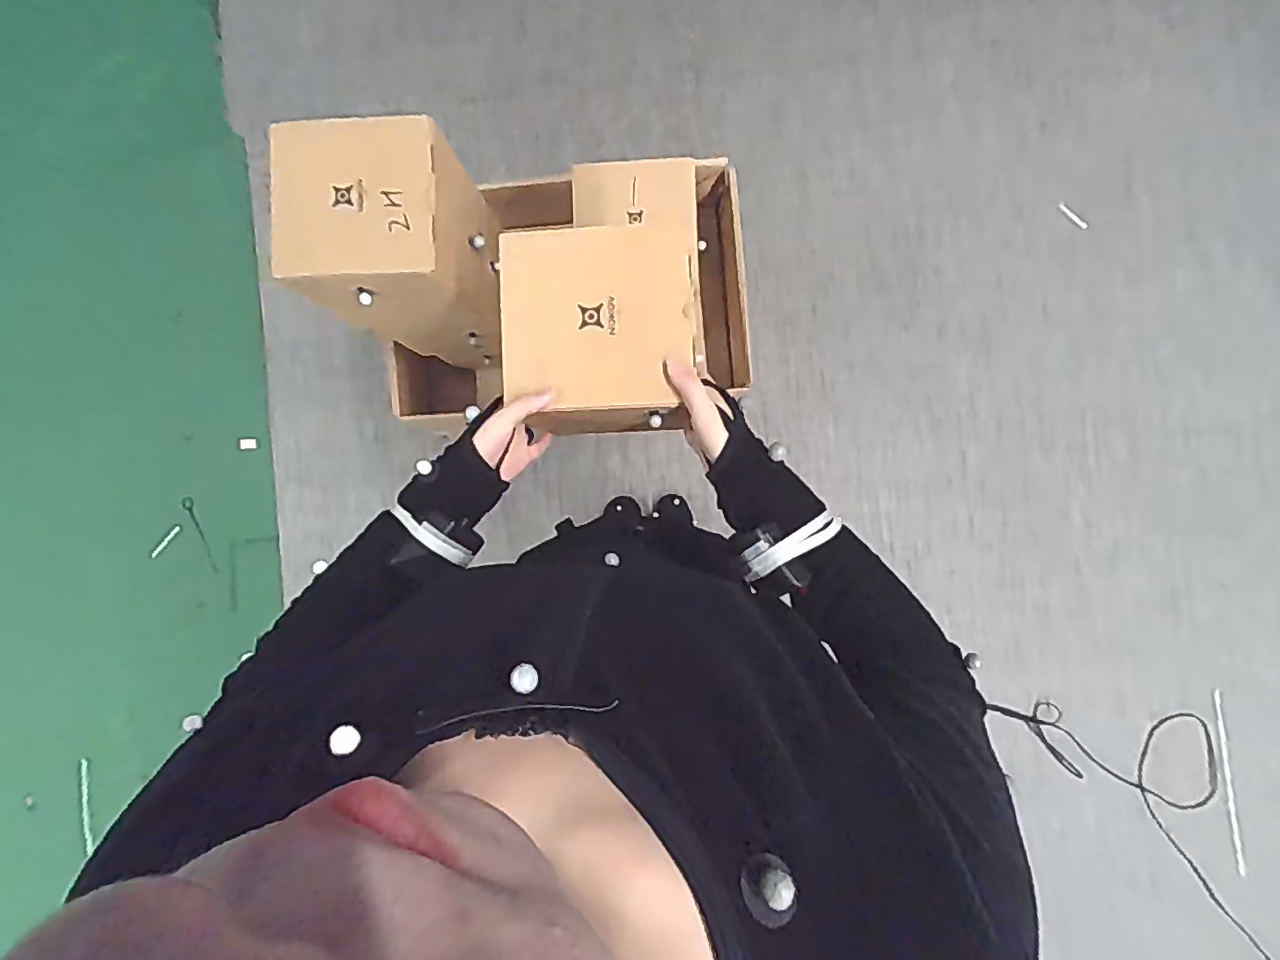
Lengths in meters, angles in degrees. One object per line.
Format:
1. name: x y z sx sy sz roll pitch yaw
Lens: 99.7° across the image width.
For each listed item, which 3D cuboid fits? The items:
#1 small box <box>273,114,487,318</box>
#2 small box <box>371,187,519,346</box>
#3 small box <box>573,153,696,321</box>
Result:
1. small box: -0.297 -0.298 0.646 0.179 0.176 0.168 -1 90 3
2. small box: -0.286 -0.305 0.811 0.168 0.176 0.179 -4 89 3
3. small box: -0.001 -0.340 0.792 0.168 0.176 0.179 -1 89 4
